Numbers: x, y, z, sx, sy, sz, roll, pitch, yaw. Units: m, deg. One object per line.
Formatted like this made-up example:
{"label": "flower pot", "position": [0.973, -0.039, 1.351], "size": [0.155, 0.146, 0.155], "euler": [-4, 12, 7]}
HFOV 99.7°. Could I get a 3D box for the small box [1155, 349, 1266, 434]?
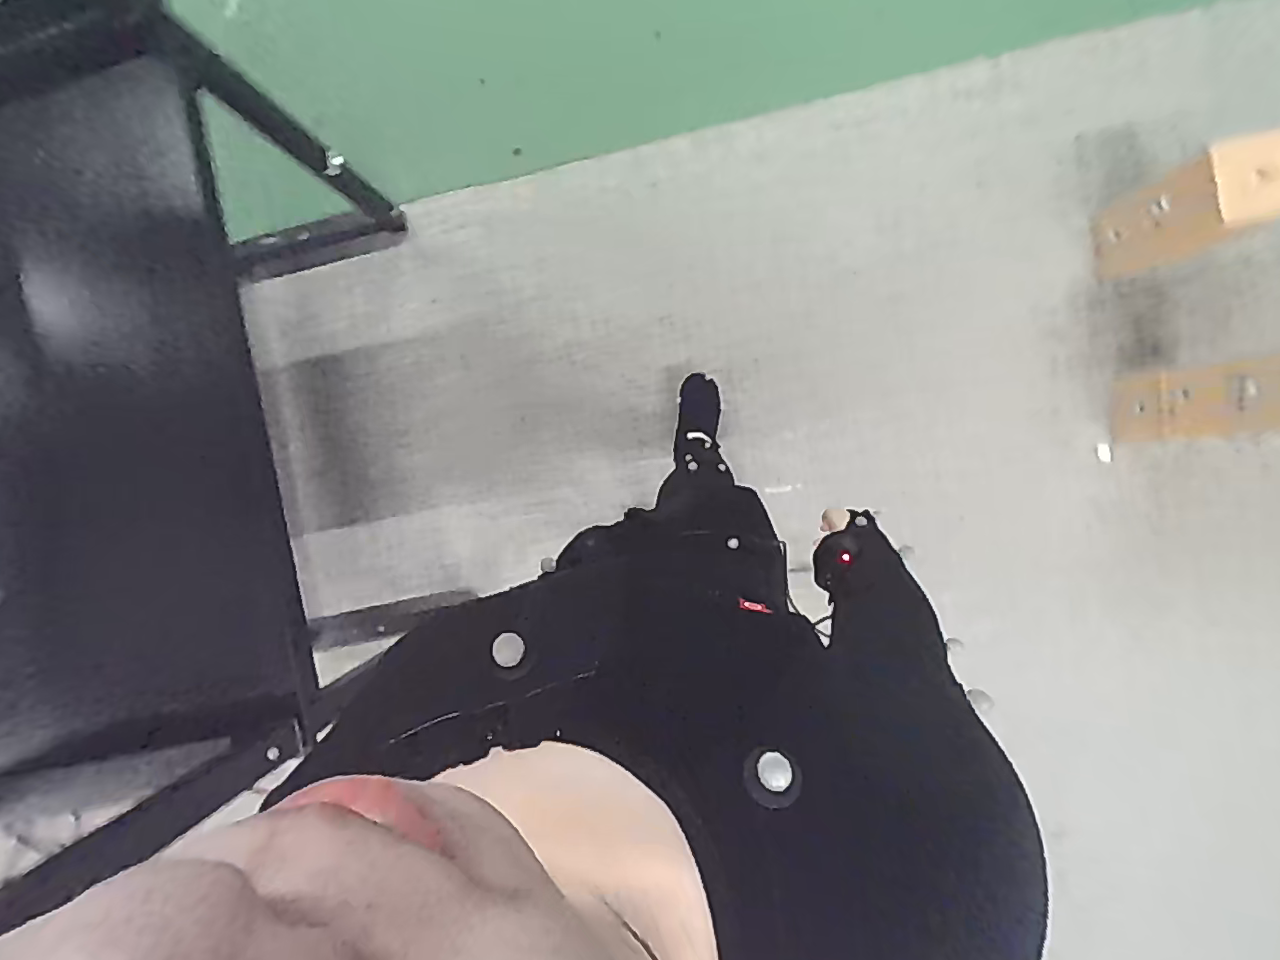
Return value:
{"label": "small box", "position": [1.249, -0.184, 1.139], "size": [0.179, 0.176, 0.168], "euler": [-3, 92, 7]}
